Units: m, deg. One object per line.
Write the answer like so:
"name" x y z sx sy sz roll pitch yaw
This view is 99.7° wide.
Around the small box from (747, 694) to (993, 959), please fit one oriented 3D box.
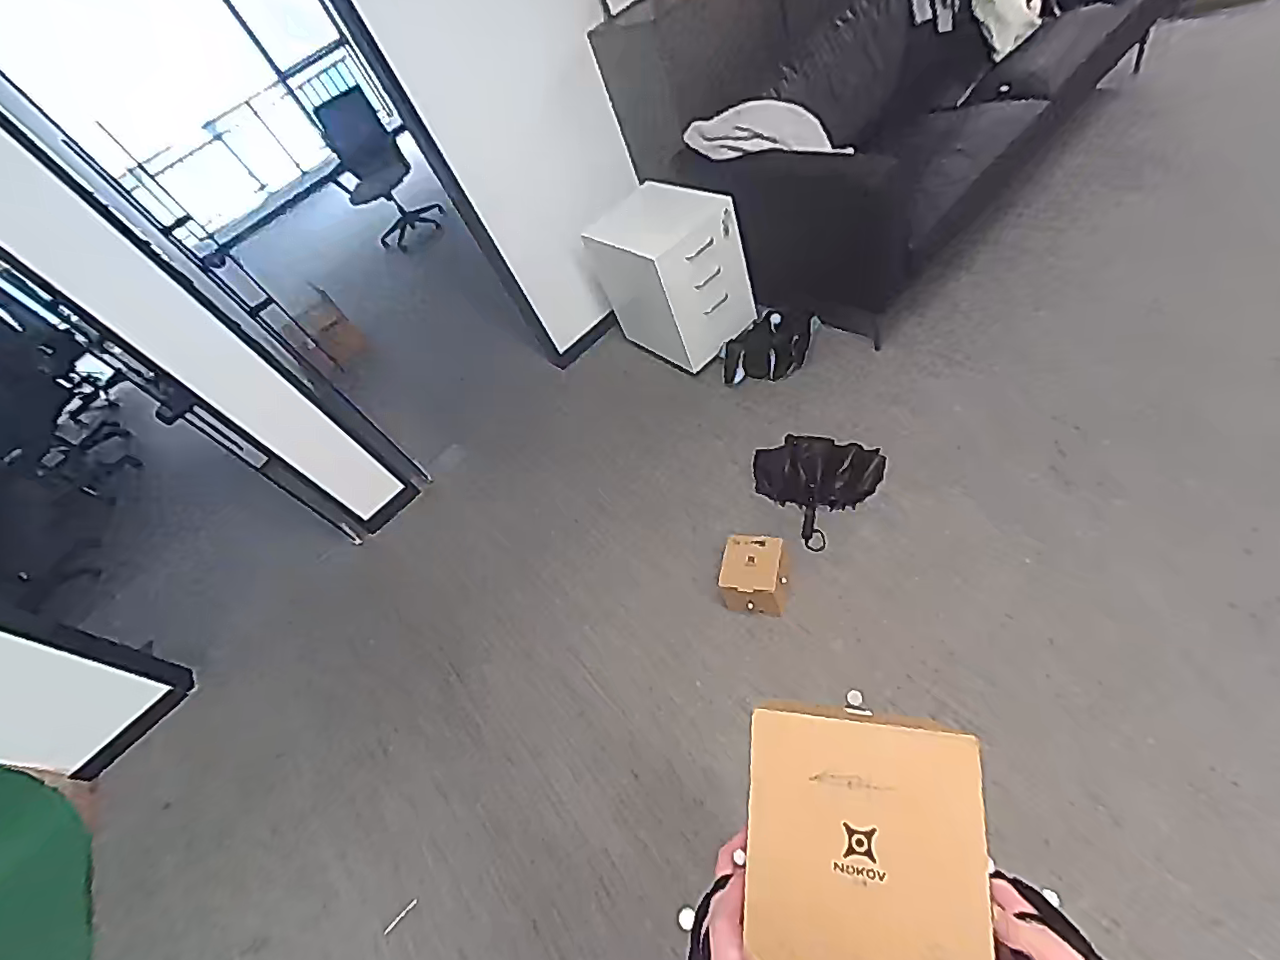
"small box" 0.185 0.294 0.475 0.168 0.176 0.179 1 72 14
